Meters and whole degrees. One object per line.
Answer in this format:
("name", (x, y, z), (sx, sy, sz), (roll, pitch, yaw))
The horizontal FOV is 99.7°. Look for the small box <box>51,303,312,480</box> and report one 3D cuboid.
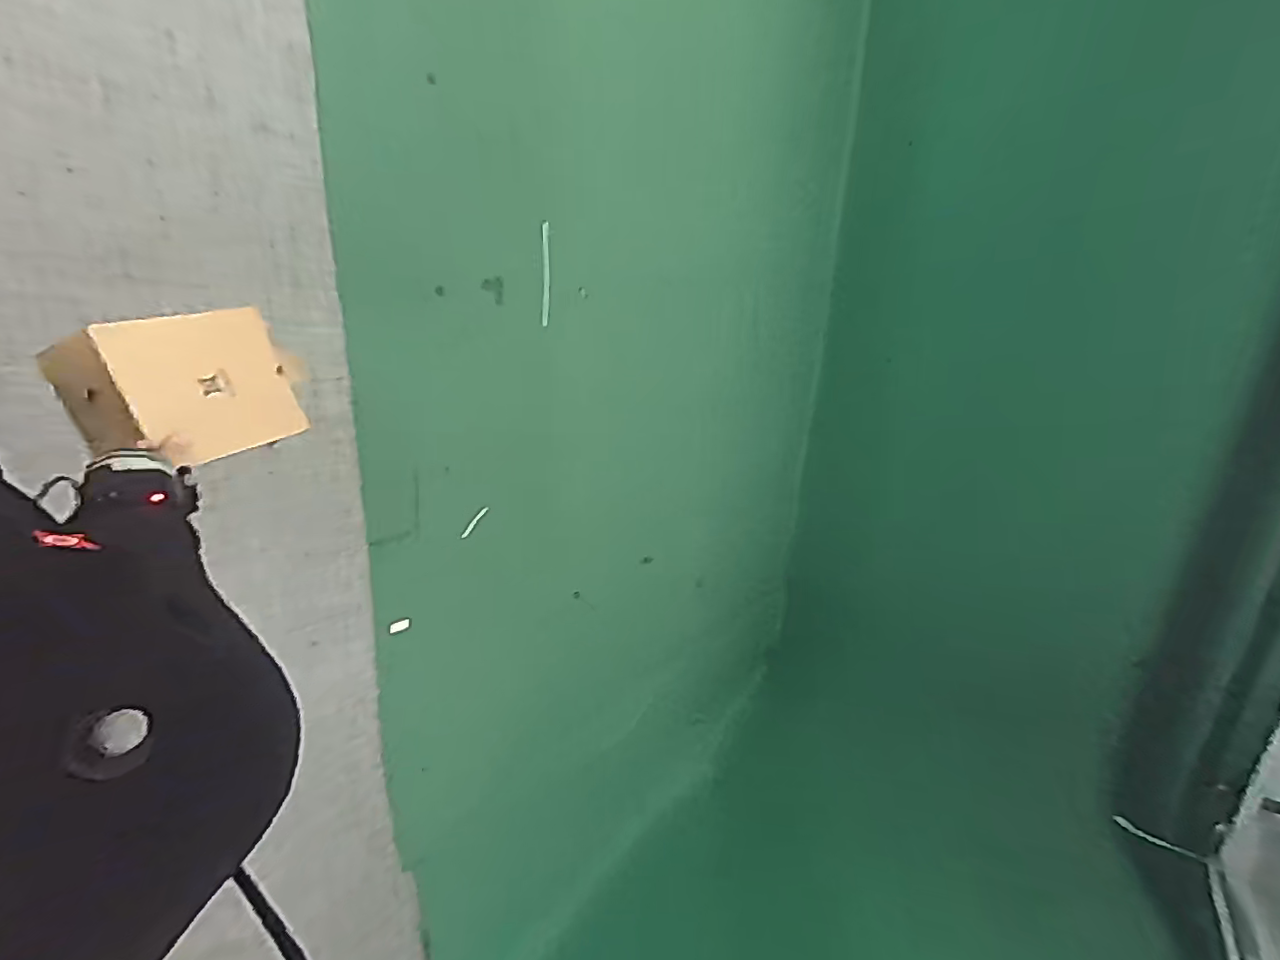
("small box", (-0.565, -0.108, 0.669), (0.179, 0.176, 0.168), (-44, 123, -56))
